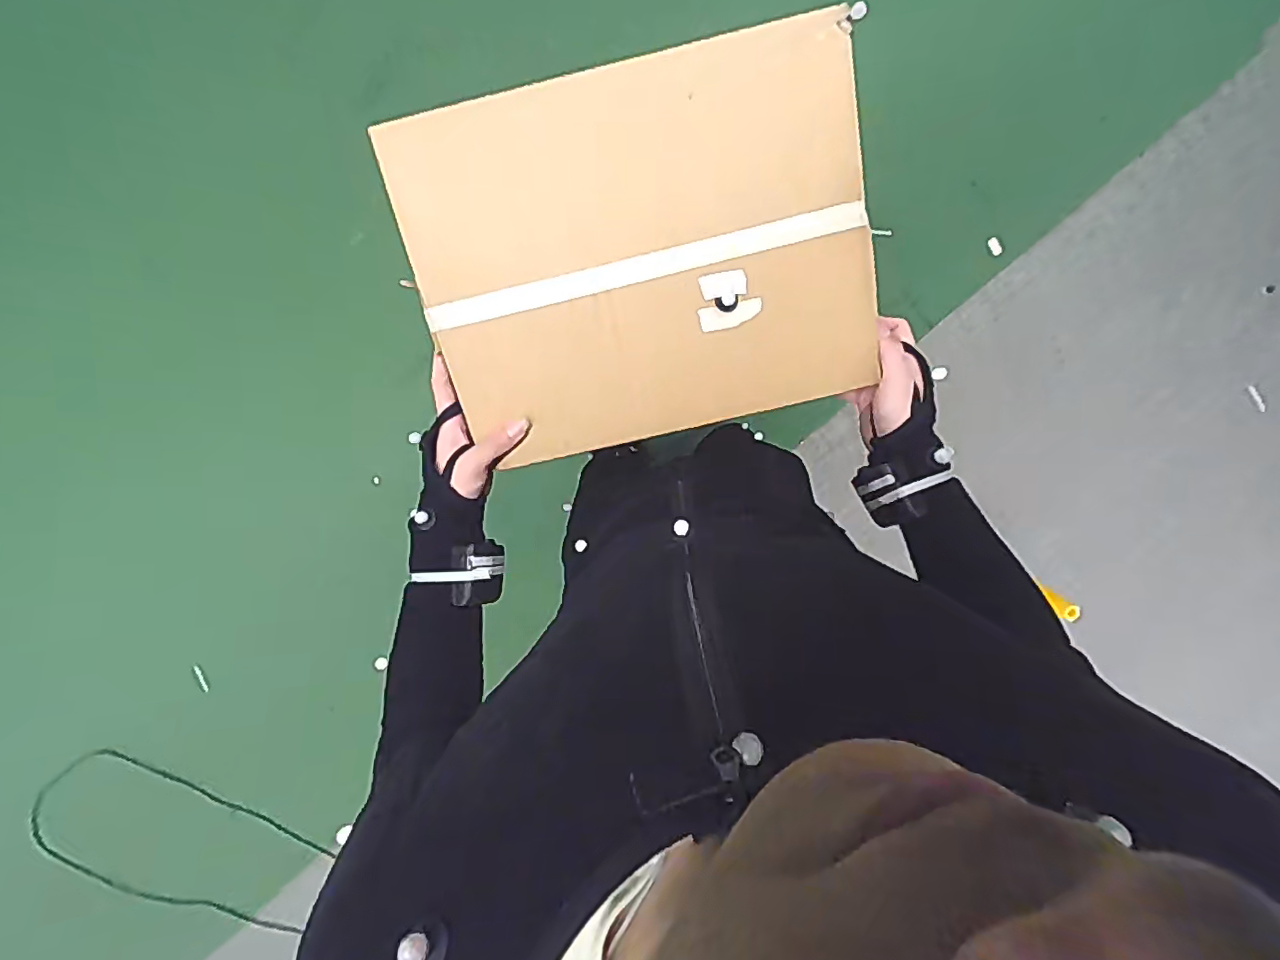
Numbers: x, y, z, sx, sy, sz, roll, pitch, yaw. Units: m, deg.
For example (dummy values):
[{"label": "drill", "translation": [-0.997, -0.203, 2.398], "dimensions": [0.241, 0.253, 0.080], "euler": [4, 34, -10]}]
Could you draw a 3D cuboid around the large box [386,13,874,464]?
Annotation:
[{"label": "large box", "translation": [0.000, -0.244, 0.639], "dimensions": [0.408, 0.320, 0.320], "euler": [-13, 108, 2]}]
